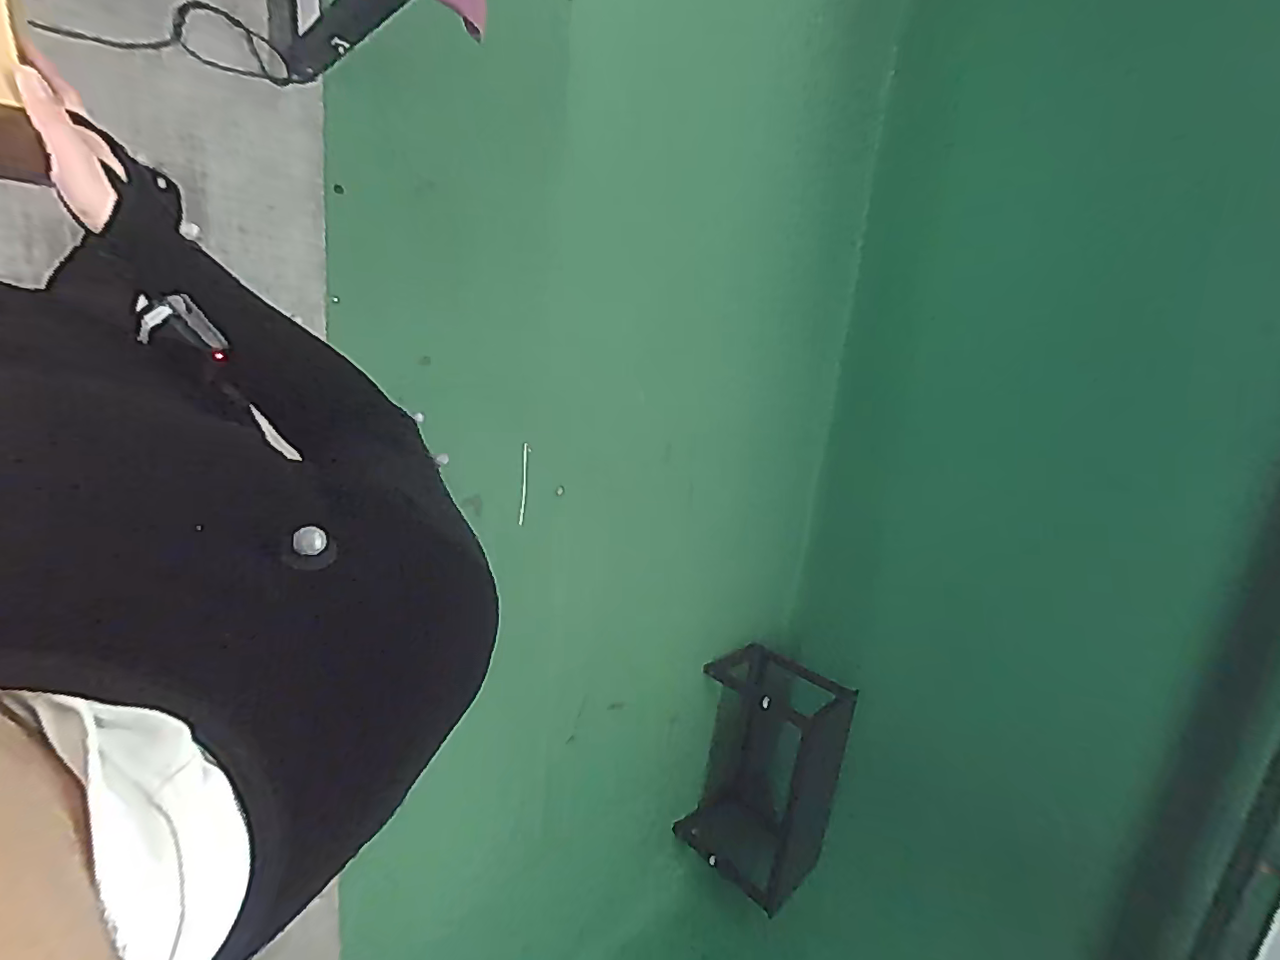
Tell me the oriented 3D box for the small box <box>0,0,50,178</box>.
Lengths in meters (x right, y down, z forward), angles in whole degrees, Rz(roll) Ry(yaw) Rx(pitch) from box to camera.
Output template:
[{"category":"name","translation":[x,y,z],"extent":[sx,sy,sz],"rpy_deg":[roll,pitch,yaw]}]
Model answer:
[{"category":"small box","translation":[-0.562,-0.353,0.387],"extent":[0.168,0.176,0.179],"rpy_deg":[-9,100,-42]}]
